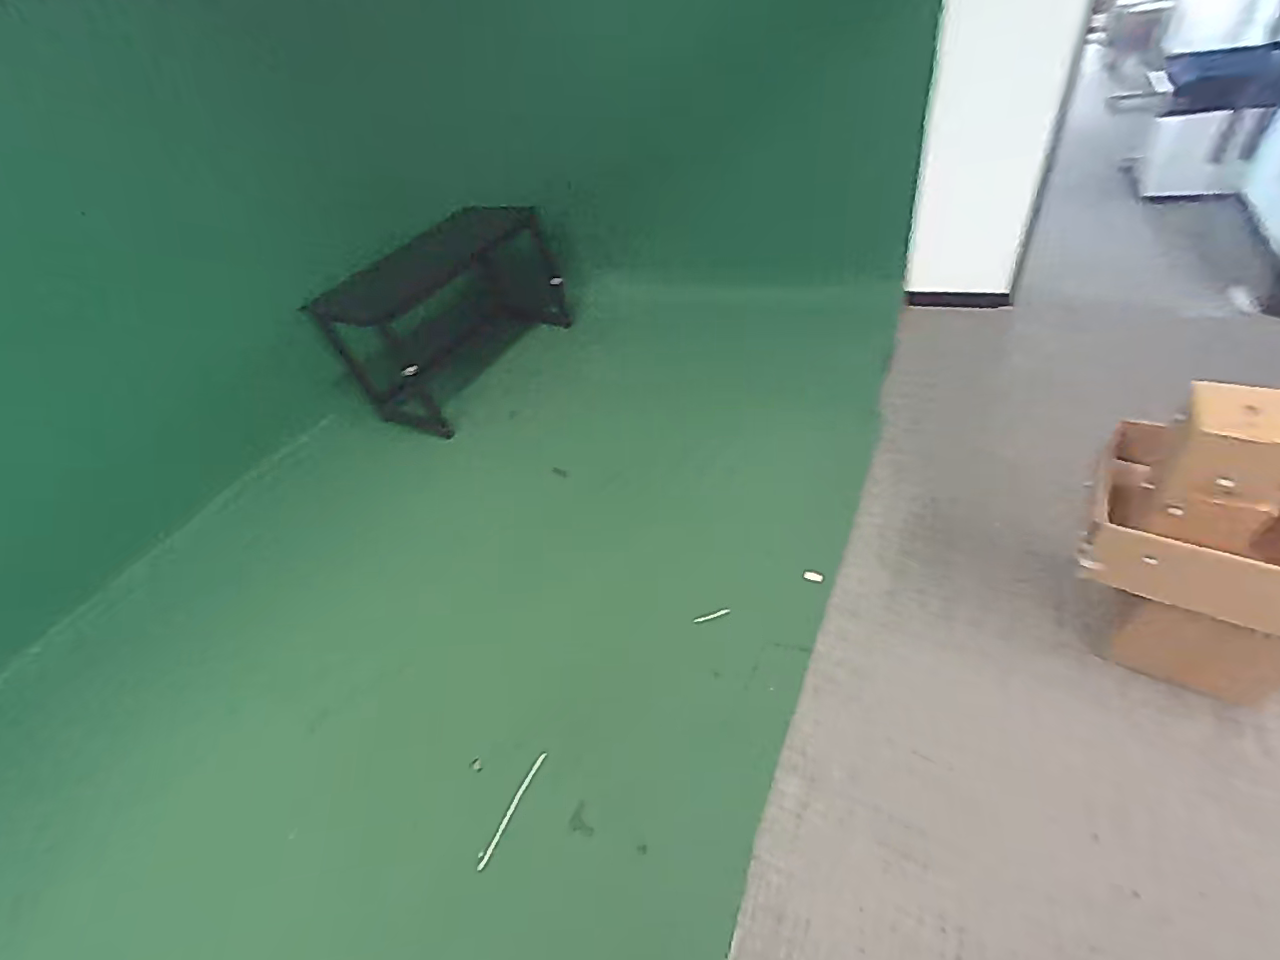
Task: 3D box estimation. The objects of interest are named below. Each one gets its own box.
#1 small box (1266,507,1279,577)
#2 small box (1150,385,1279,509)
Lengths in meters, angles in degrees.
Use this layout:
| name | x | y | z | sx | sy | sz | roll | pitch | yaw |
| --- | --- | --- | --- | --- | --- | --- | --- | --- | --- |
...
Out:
| name | x | y | z | sx | sy | sz | roll | pitch | yaw |
| --- | --- | --- | --- | --- | --- | --- | --- | --- | --- |
| small box | 1.464 | 0.116 | 1.122 | 0.168 | 0.176 | 0.179 | 18 | 55 | 29 |
| small box | 1.213 | -0.071 | 1.136 | 0.168 | 0.176 | 0.179 | 16 | 52 | 28 |
